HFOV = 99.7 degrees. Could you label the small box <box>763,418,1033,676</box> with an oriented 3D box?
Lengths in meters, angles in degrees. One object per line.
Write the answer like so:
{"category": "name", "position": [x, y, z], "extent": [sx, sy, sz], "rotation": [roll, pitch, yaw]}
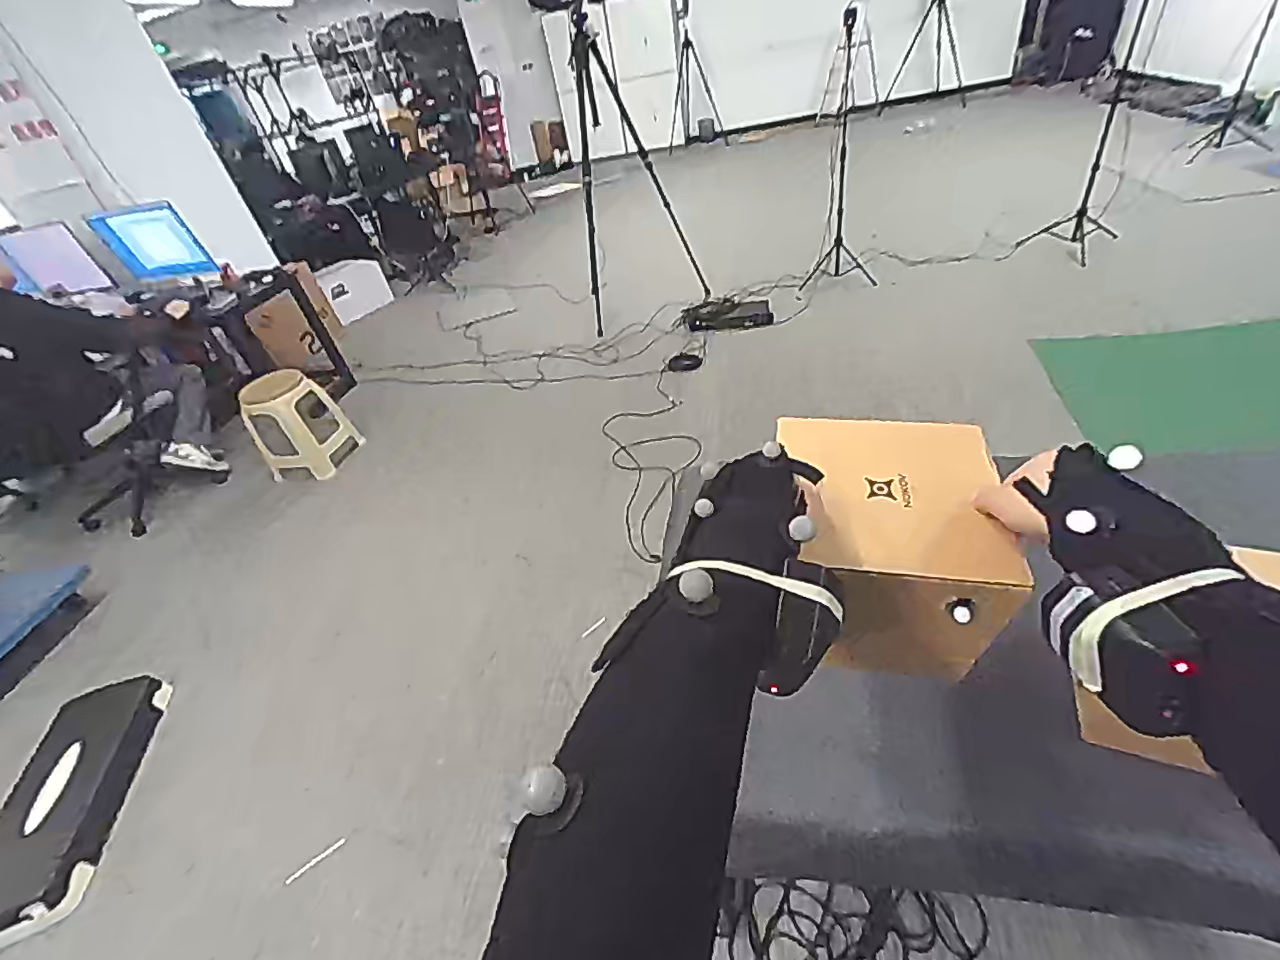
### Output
{"category": "small box", "position": [0.206, 0.062, 0.494], "extent": [0.179, 0.176, 0.168], "rotation": [4, 48, 10]}
